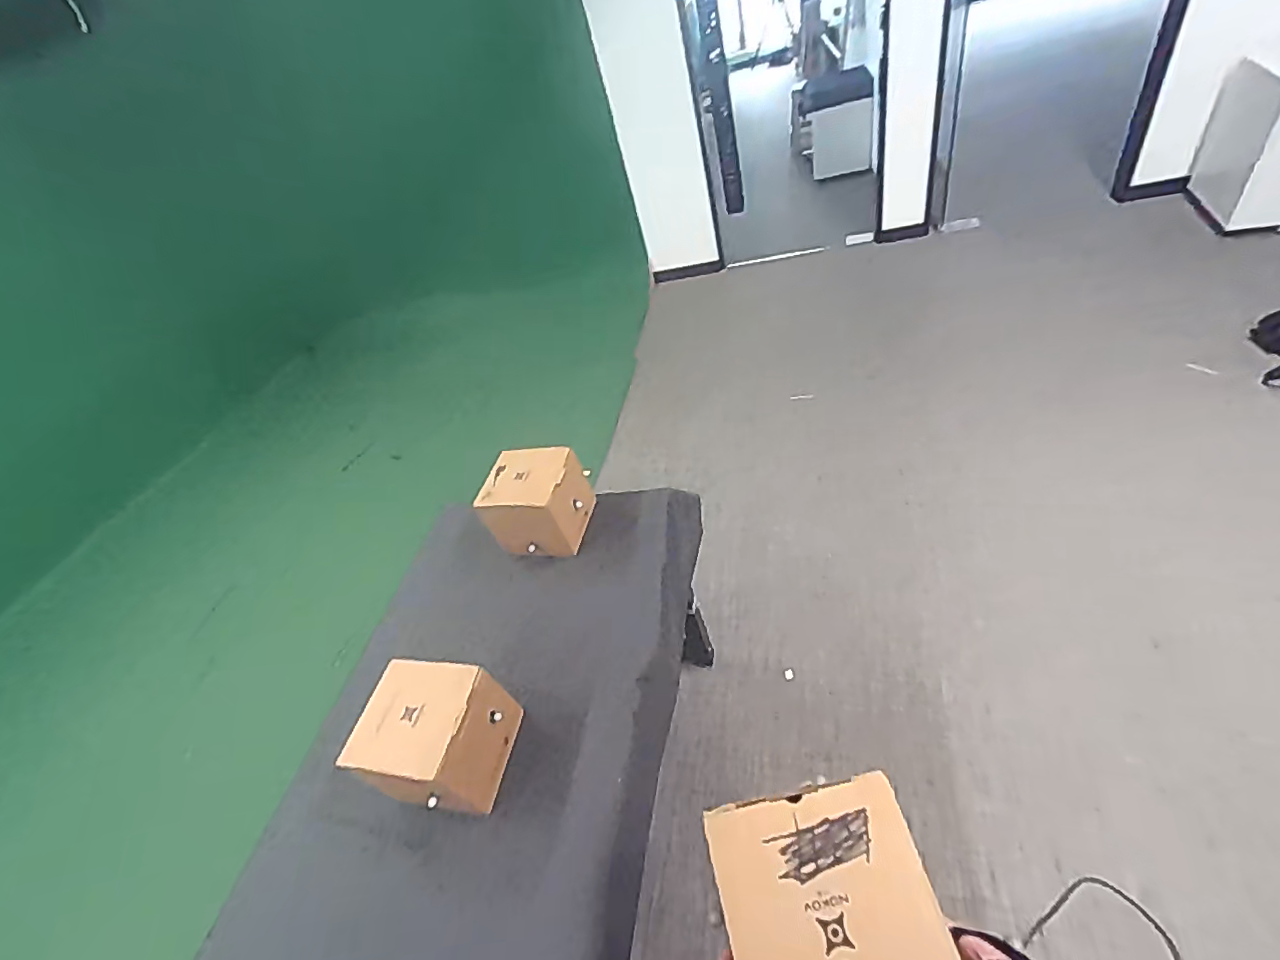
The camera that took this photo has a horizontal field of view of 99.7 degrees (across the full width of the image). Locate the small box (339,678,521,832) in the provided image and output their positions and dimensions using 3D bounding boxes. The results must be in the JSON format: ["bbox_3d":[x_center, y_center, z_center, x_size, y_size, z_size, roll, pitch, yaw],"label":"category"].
[{"bbox_3d":[-0.313,0.432,0.851,0.179,0.176,0.168,-5,42,18],"label":"small box"}]

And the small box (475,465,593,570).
[{"bbox_3d":[-0.221,0.084,1.182,0.179,0.176,0.168,-1,45,19],"label":"small box"}]

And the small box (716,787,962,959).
[{"bbox_3d":[0.166,0.399,0.487,0.168,0.176,0.179,-13,55,0],"label":"small box"}]
